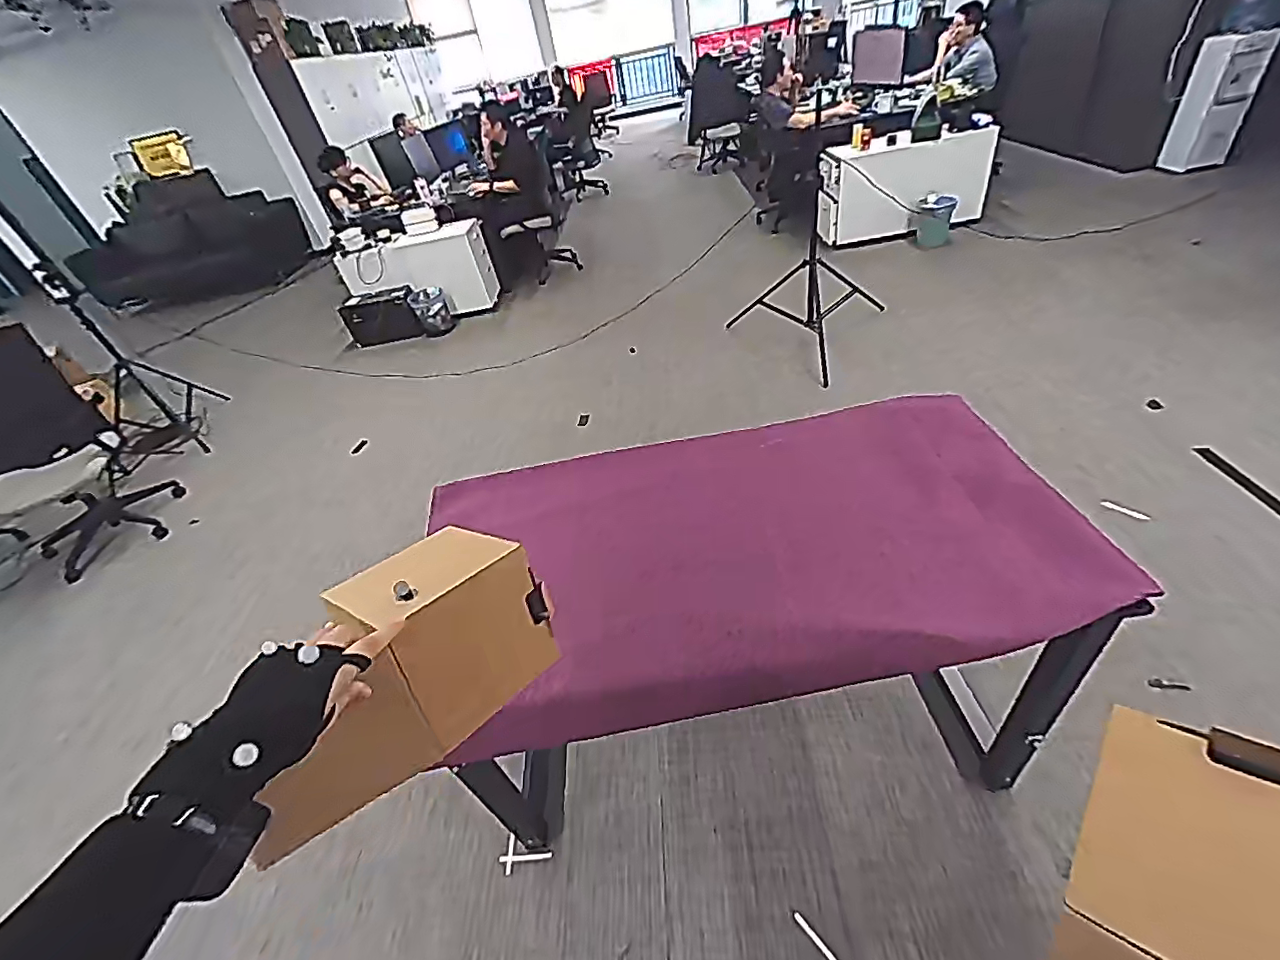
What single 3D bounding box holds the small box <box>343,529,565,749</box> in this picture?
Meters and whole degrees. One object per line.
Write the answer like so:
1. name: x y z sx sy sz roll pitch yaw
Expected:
1. small box: -0.227 0.173 0.650 0.176 0.168 0.179 4 28 42
